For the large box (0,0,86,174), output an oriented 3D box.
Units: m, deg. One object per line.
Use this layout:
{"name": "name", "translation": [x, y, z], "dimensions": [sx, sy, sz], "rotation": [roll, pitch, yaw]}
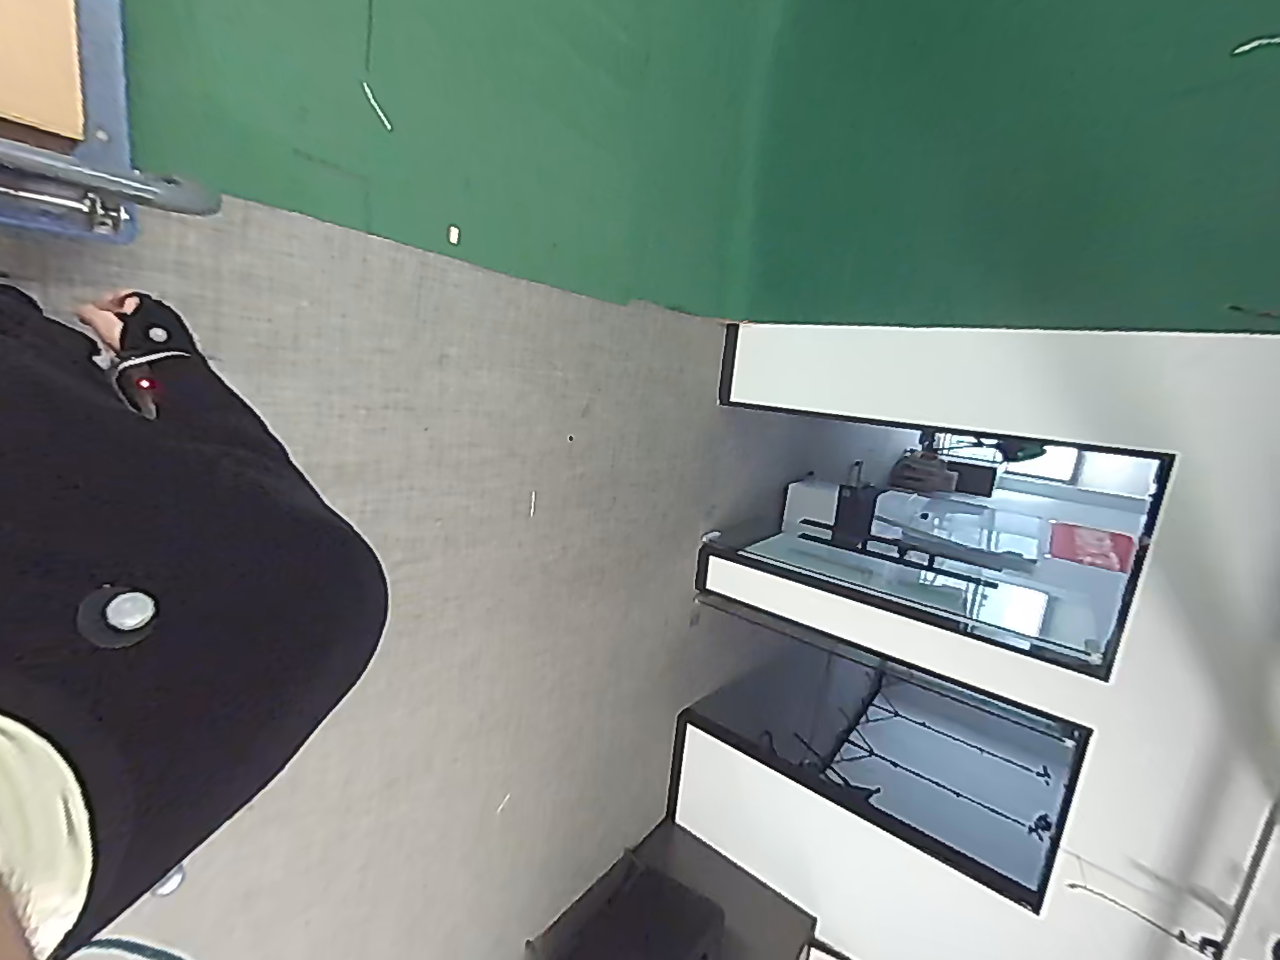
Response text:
{"name": "large box", "translation": [-1.008, -0.694, 0.722], "dimensions": [0.320, 0.320, 0.408], "rotation": [-9, 107, -52]}
